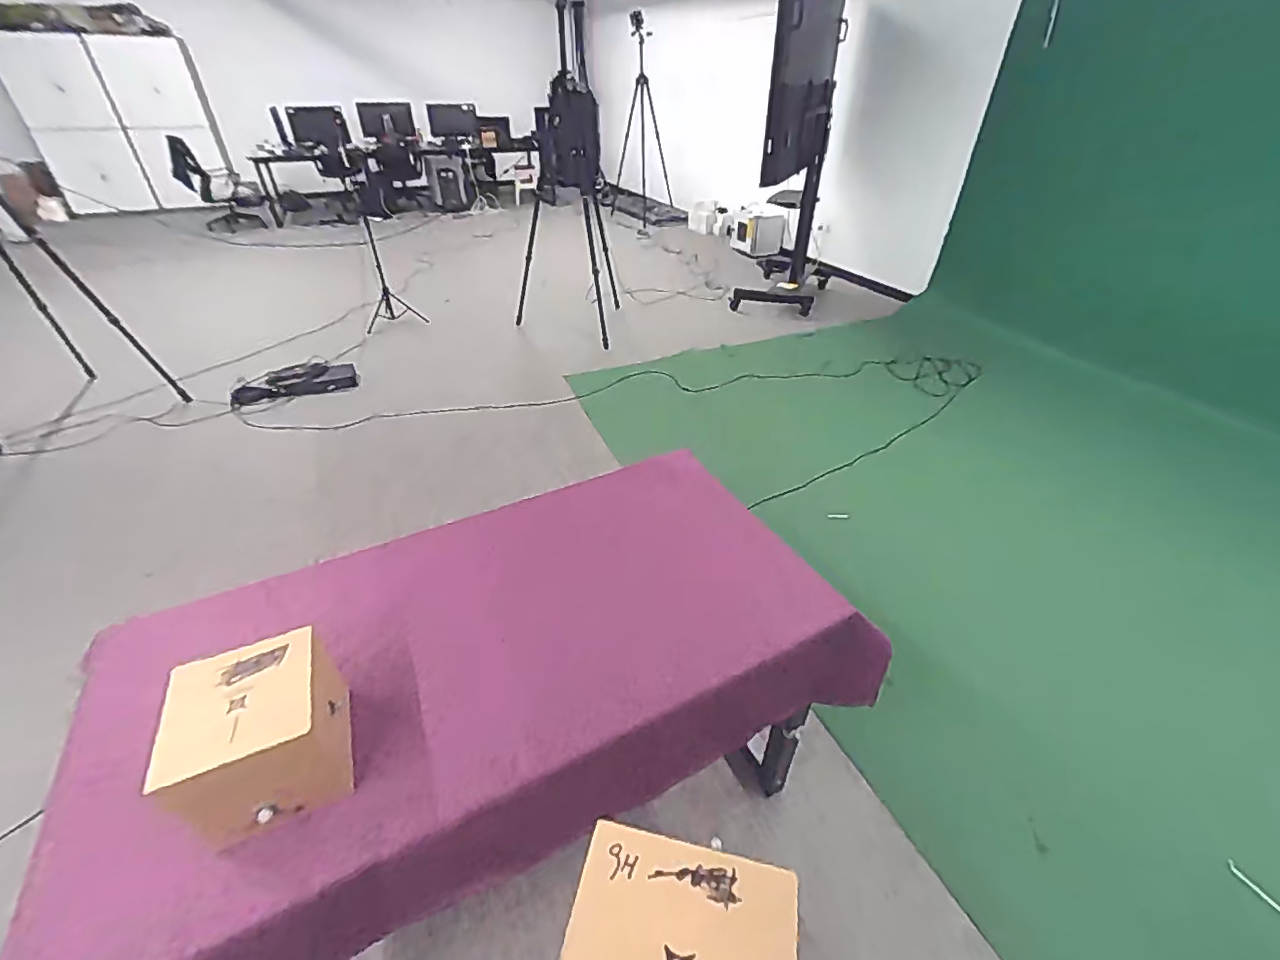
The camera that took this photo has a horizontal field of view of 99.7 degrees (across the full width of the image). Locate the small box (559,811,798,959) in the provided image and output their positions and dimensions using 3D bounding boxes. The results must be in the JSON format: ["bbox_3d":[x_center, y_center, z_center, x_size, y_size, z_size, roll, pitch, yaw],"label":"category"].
[{"bbox_3d":[0.026,0.408,0.434,0.168,0.176,0.179,9,43,12],"label":"small box"}]

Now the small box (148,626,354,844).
[{"bbox_3d":[-0.497,0.335,0.721,0.168,0.176,0.179,-16,41,-20],"label":"small box"}]
